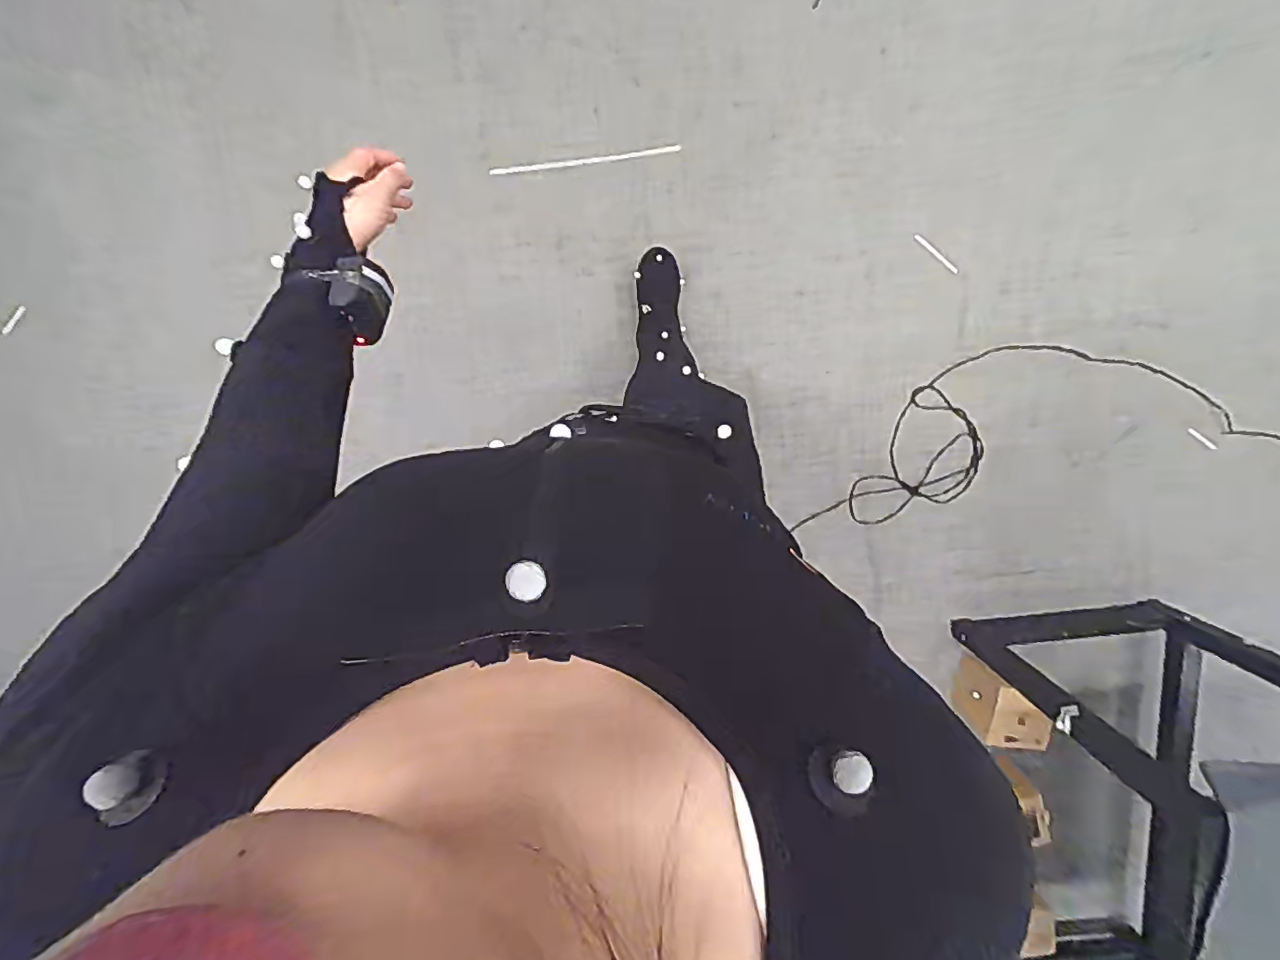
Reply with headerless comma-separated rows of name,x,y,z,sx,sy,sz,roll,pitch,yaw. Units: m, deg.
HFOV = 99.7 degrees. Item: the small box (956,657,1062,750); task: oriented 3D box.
small box,1.014,0.613,1.503,0.168,0.176,0.179,6,100,0
